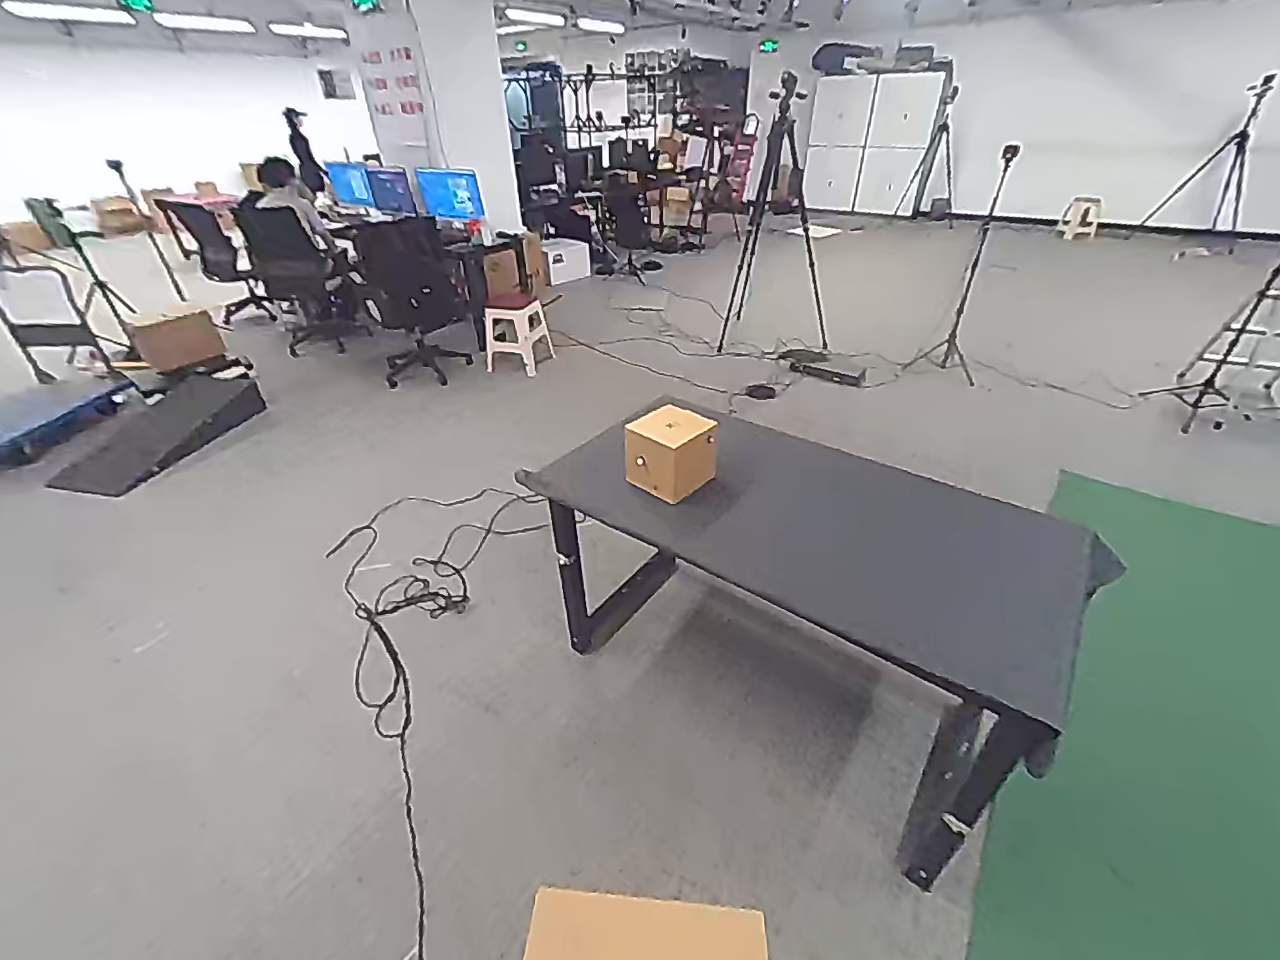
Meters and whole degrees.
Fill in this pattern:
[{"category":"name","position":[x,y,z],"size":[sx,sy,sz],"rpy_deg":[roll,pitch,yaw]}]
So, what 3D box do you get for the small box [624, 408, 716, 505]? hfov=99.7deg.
[{"category":"small box","position":[0.079,-0.061,1.391],"size":[0.168,0.176,0.179],"rpy_deg":[27,42,34]}]
